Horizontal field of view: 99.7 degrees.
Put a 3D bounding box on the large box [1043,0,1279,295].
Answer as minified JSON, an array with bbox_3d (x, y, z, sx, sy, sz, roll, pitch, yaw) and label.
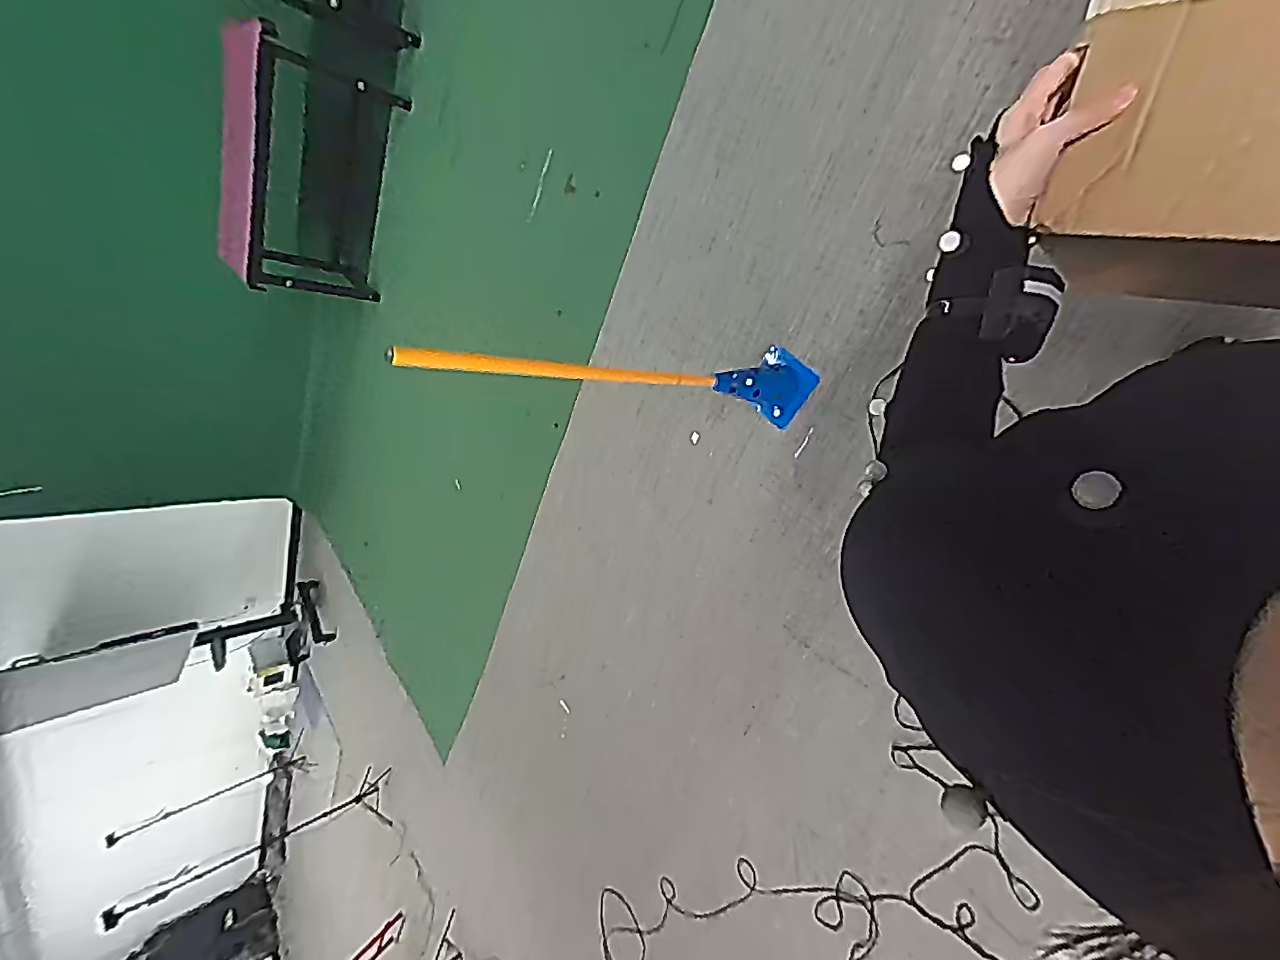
[{"bbox_3d":[0.582,-0.308,0.377,0.408,0.320,0.320,23,112,37],"label":"large box"}]

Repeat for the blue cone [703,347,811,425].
[{"bbox_3d":[0.312,-0.279,1.556,0.192,0.380,0.193,50,125,28],"label":"blue cone"}]
